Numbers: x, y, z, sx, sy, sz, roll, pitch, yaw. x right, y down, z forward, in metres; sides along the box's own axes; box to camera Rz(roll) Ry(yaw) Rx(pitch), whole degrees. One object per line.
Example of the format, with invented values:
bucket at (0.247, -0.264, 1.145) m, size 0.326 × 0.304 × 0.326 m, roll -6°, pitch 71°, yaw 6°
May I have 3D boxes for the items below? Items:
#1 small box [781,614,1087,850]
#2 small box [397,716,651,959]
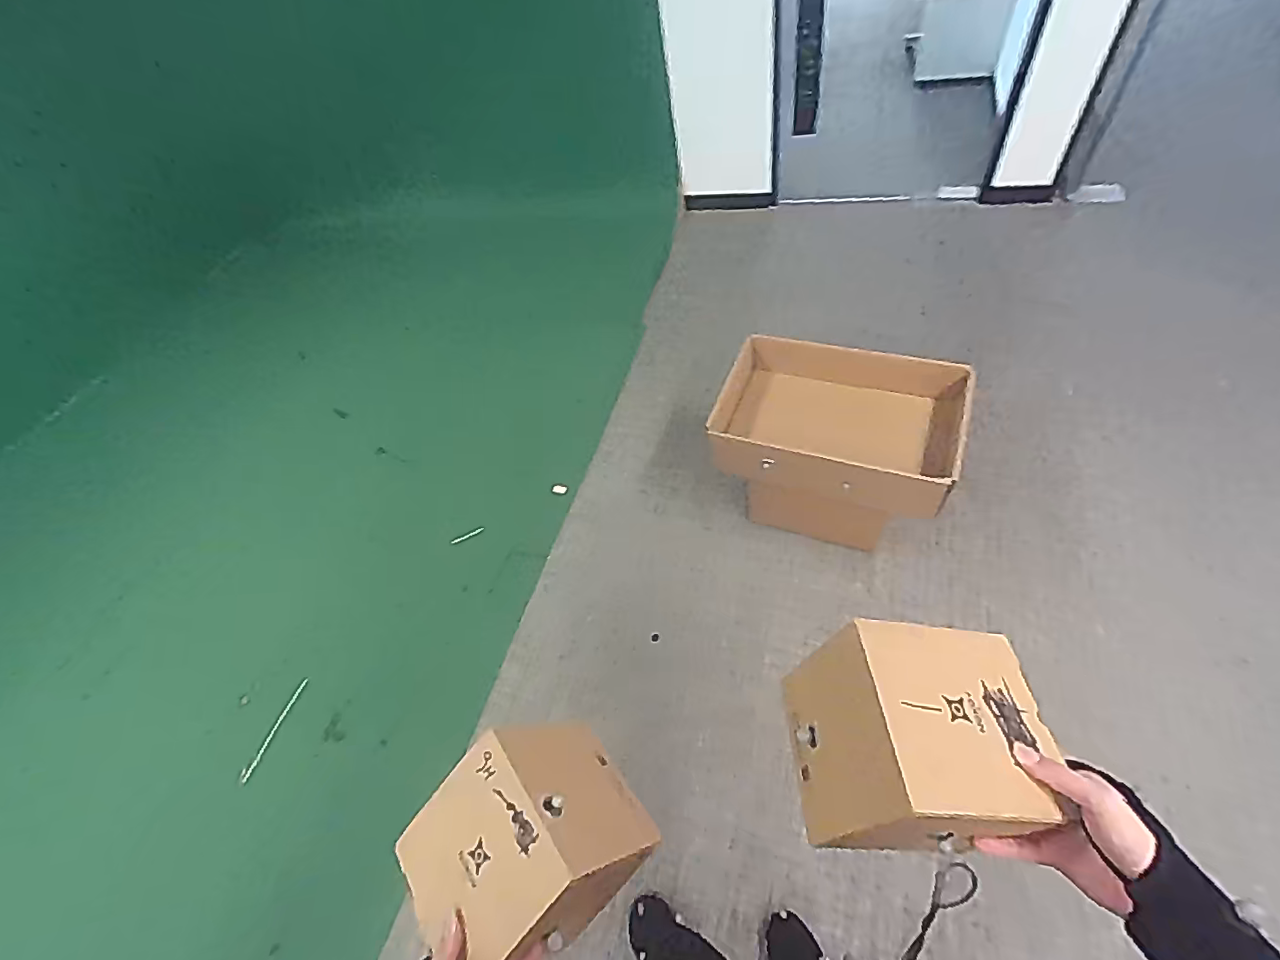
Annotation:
small box at (0.265, 0.255, 0.536) m, size 0.179 × 0.176 × 0.168 m, roll 10°, pitch 47°, yaw -9°
small box at (-0.120, 0.383, 0.587) m, size 0.179 × 0.176 × 0.168 m, roll -51°, pitch 53°, yaw 6°
